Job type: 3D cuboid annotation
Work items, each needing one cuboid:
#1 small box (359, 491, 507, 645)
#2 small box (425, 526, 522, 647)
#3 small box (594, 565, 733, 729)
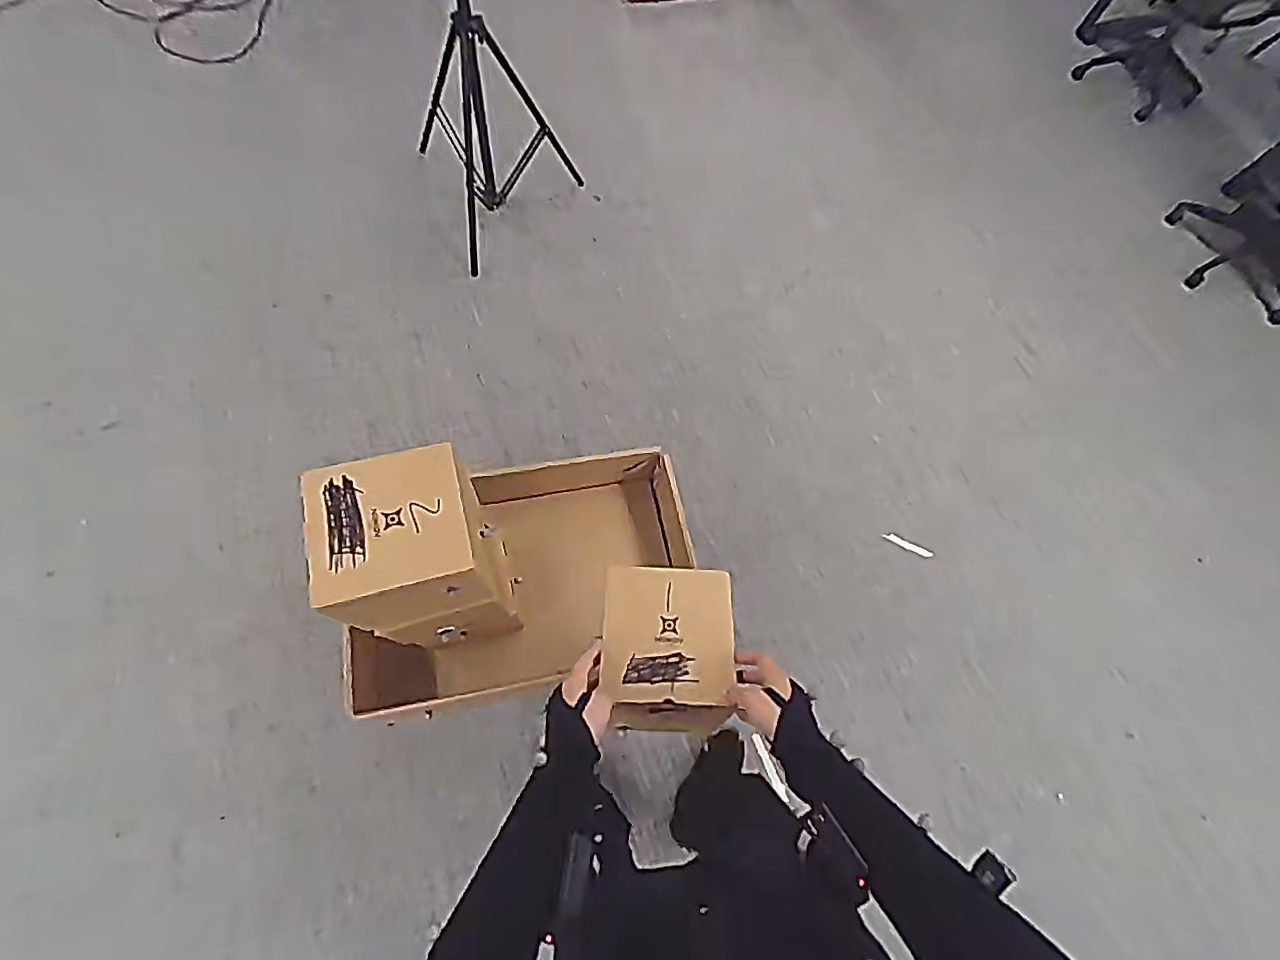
[{"bbox_3d":[-0.313,0.142,0.840,0.168,0.176,0.179,-14,70,-12],"label":"small box"},{"bbox_3d":[-0.323,0.201,0.993,0.179,0.176,0.168,-12,71,-13],"label":"small box"},{"bbox_3d":[0.028,0.233,0.738,0.168,0.176,0.179,3,55,-2],"label":"small box"}]
